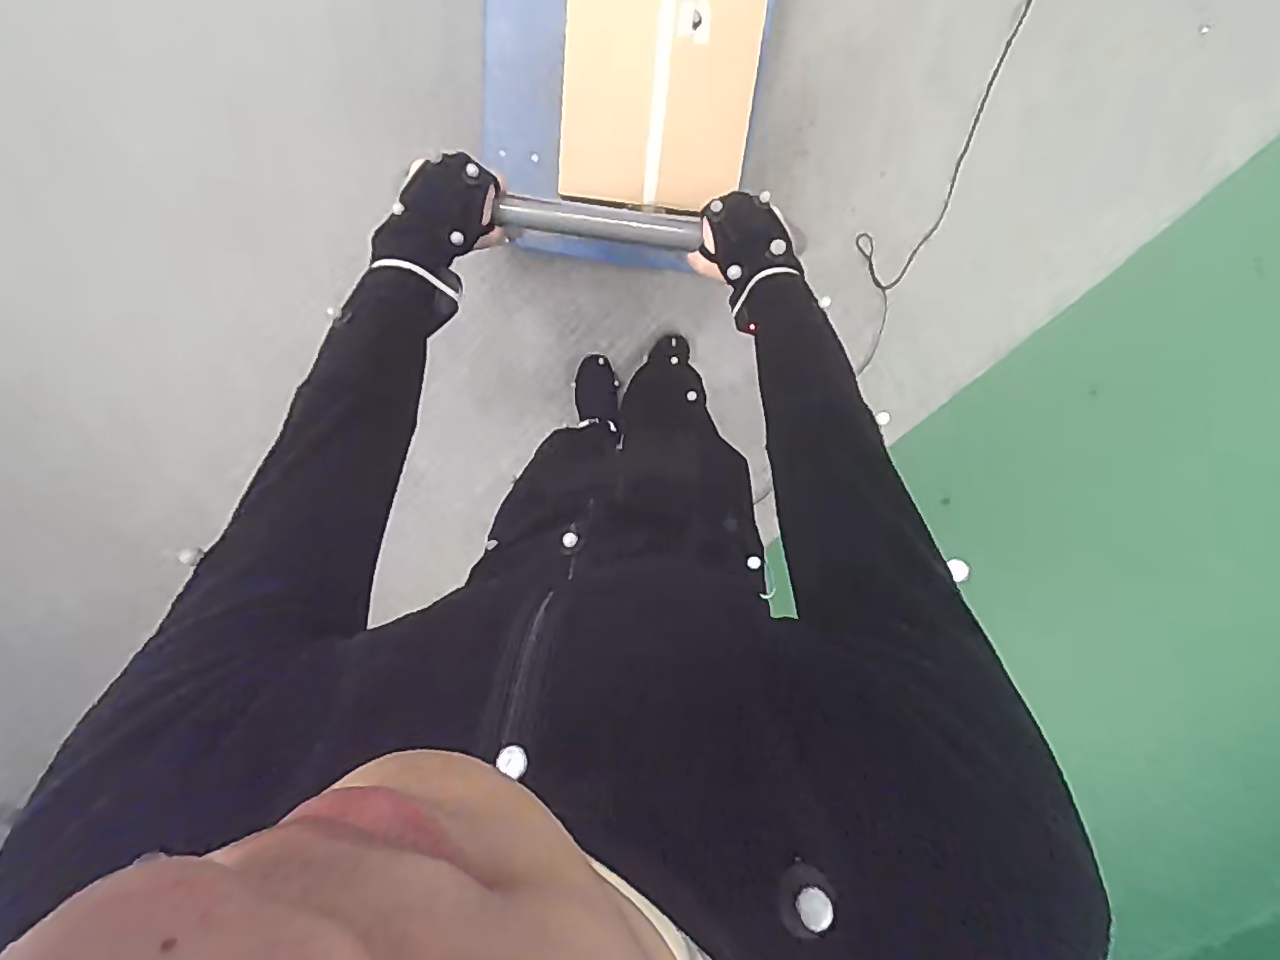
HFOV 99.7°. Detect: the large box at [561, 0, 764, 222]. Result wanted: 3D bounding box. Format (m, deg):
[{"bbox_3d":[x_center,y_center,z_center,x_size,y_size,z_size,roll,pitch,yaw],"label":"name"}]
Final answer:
[{"bbox_3d":[0.031,-0.734,1.028,0.320,0.320,0.408,5,111,-5],"label":"large box"}]
